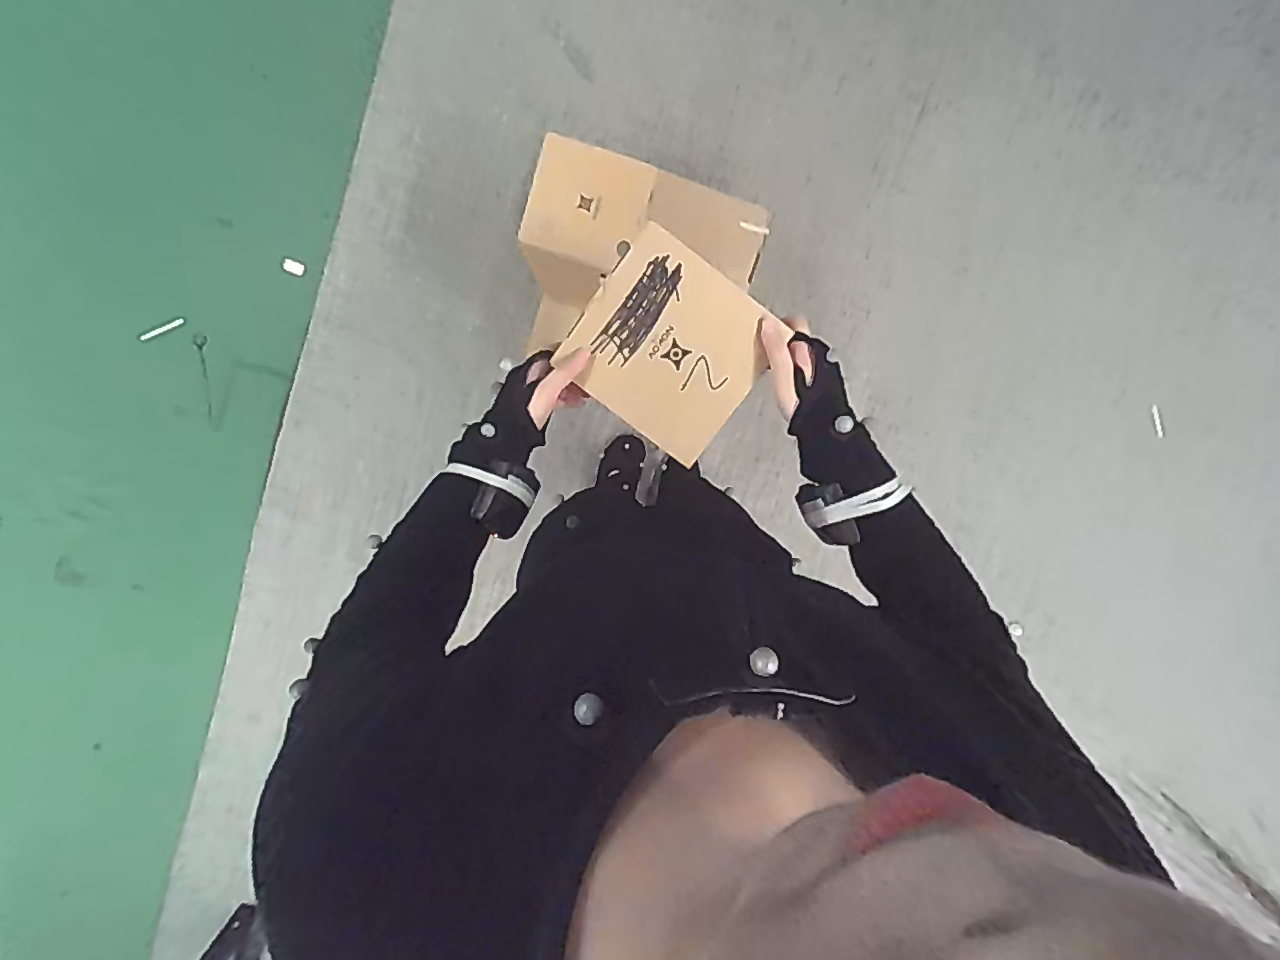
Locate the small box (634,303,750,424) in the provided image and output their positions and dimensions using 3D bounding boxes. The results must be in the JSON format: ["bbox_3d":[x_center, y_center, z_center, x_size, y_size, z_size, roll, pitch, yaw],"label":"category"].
[{"bbox_3d":[0.092,-0.222,1.074,0.168,0.176,0.179,22,94,-6],"label":"small box"}]

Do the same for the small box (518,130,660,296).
[{"bbox_3d":[-0.080,-0.418,0.882,0.179,0.176,0.168,17,94,-5],"label":"small box"}]

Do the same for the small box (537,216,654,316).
[{"bbox_3d":[-0.084,-0.429,1.045,0.179,0.176,0.168,16,94,-4],"label":"small box"}]
